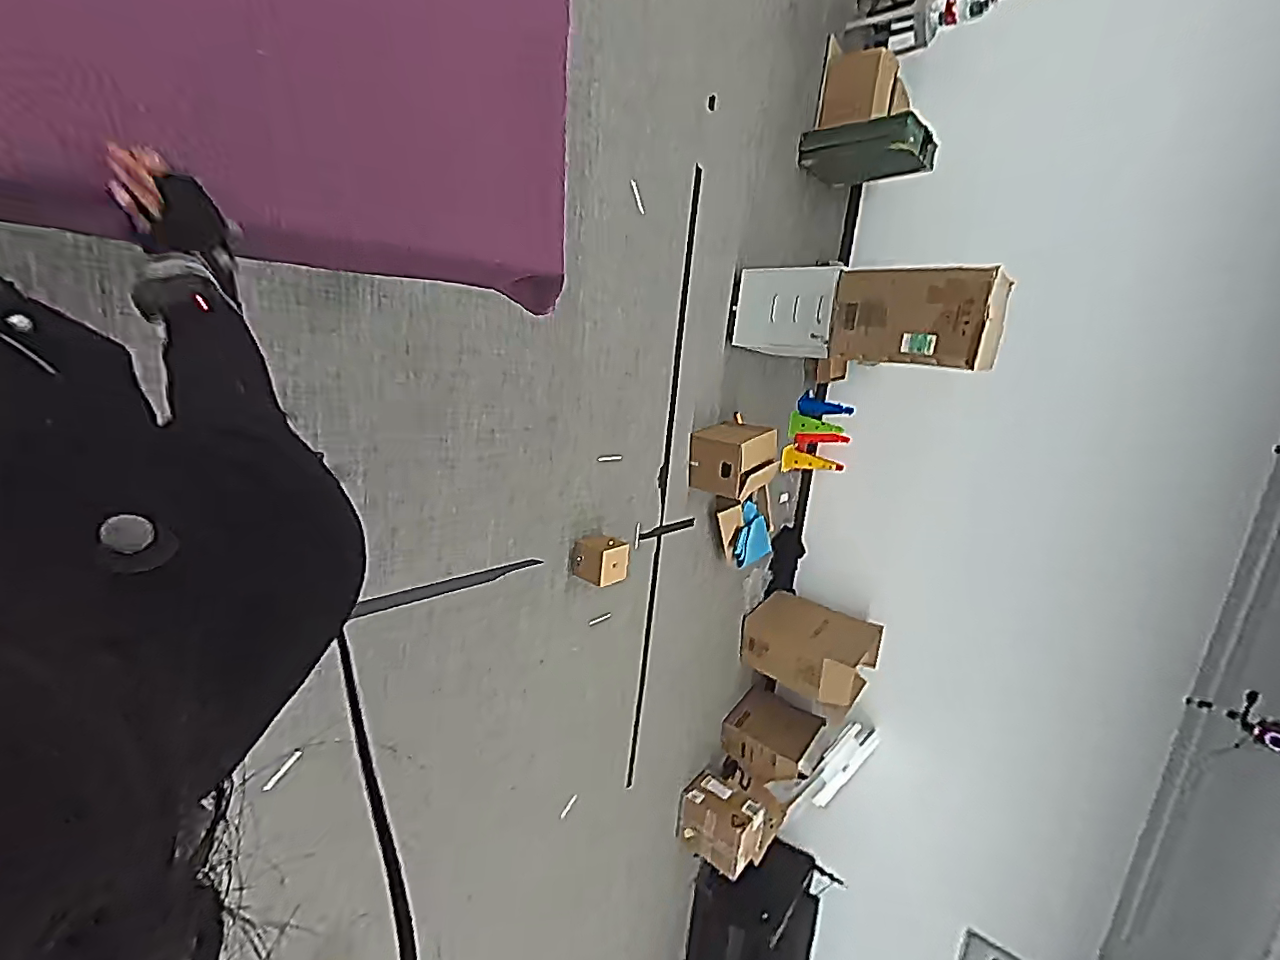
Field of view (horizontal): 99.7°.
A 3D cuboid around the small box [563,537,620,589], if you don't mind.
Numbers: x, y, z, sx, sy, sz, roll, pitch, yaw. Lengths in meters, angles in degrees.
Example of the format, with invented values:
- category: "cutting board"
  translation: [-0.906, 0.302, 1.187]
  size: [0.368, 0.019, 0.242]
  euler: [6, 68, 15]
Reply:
- category: "small box"
  translation: [-0.215, 0.358, 2.381]
  size: [0.179, 0.176, 0.168]
  euler: [-8, 108, -51]
